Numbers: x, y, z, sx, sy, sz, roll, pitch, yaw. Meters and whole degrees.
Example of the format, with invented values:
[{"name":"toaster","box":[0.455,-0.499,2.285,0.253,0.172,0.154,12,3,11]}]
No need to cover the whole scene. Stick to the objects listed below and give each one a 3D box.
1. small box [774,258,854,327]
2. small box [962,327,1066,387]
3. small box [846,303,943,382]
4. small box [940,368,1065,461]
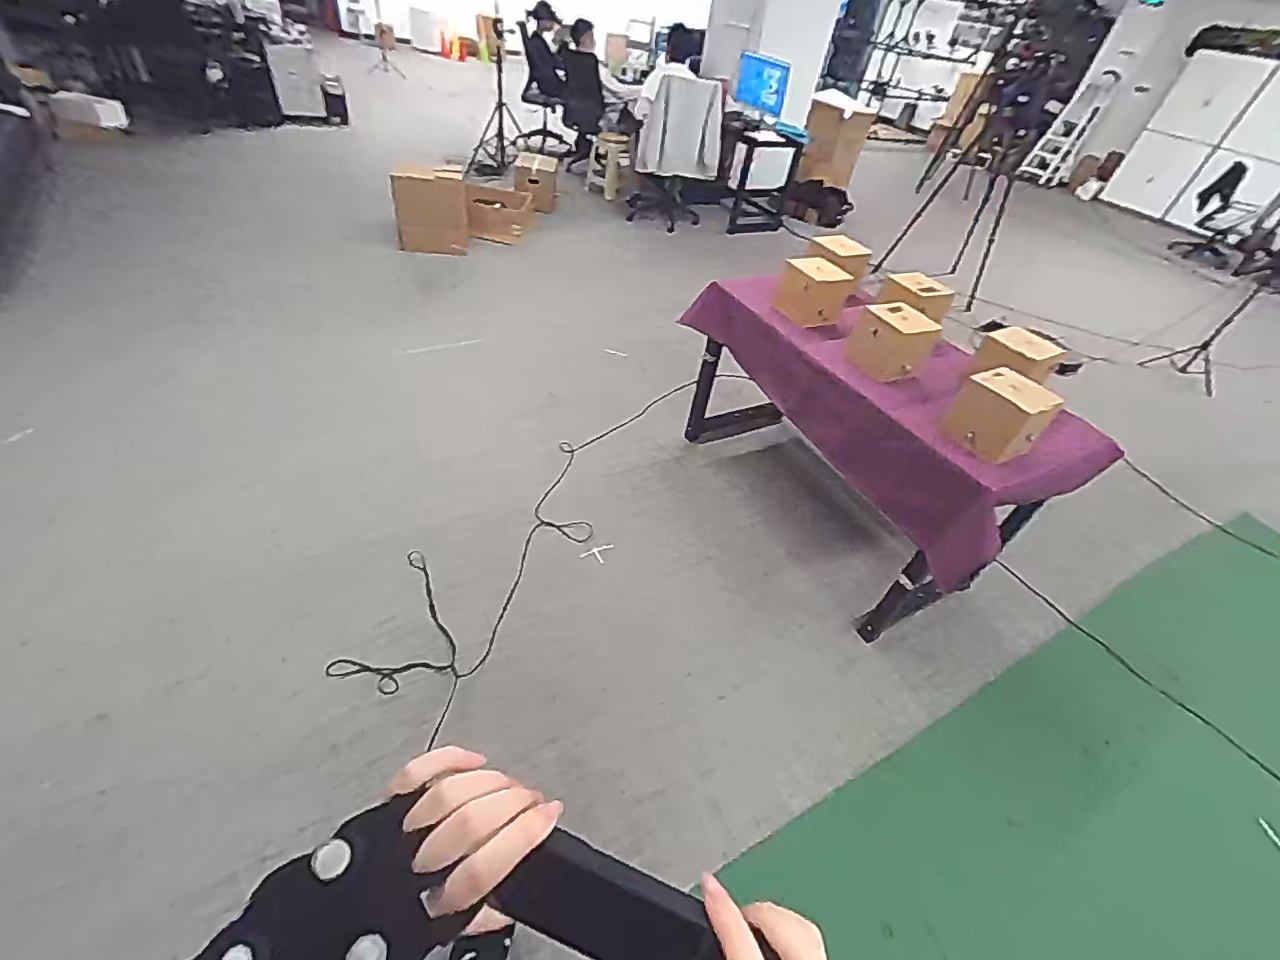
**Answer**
[{"name":"small box","box":[0.591,-0.646,1.863,0.168,0.176,0.179,-14,49,-25]},{"name":"small box","box":[1.128,-0.343,1.644,0.179,0.176,0.168,-18,49,-27]},{"name":"small box","box":[0.771,-0.422,1.658,0.168,0.176,0.179,-13,48,-24]},{"name":"small box","box":[0.938,-0.166,1.415,0.168,0.176,0.179,-16,49,-27]}]
